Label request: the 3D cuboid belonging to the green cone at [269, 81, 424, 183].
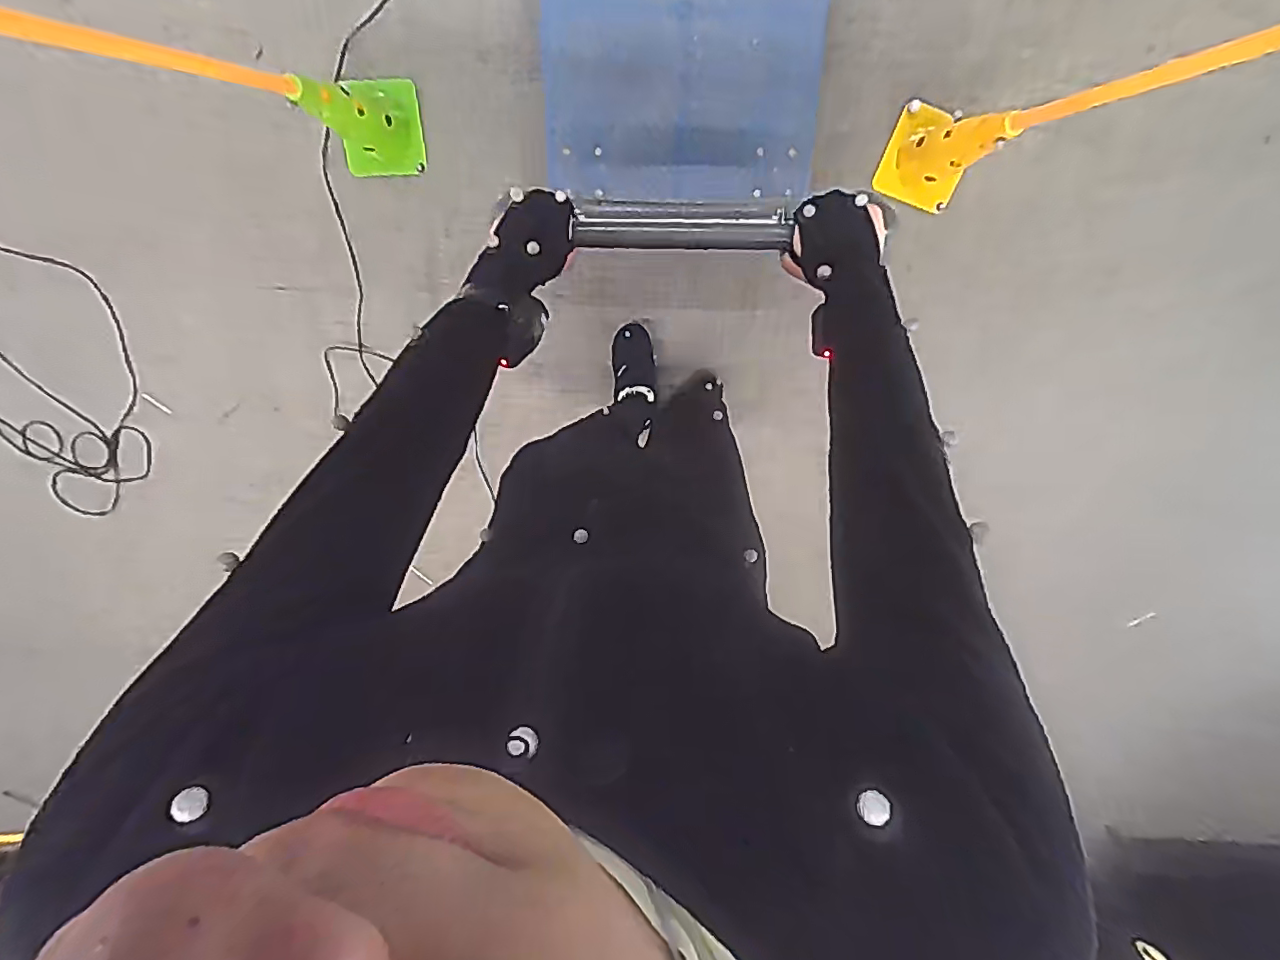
[{"bbox_3d":[-0.647,-0.780,1.158,0.202,0.368,0.200,-1,111,4],"label":"green cone"}]
